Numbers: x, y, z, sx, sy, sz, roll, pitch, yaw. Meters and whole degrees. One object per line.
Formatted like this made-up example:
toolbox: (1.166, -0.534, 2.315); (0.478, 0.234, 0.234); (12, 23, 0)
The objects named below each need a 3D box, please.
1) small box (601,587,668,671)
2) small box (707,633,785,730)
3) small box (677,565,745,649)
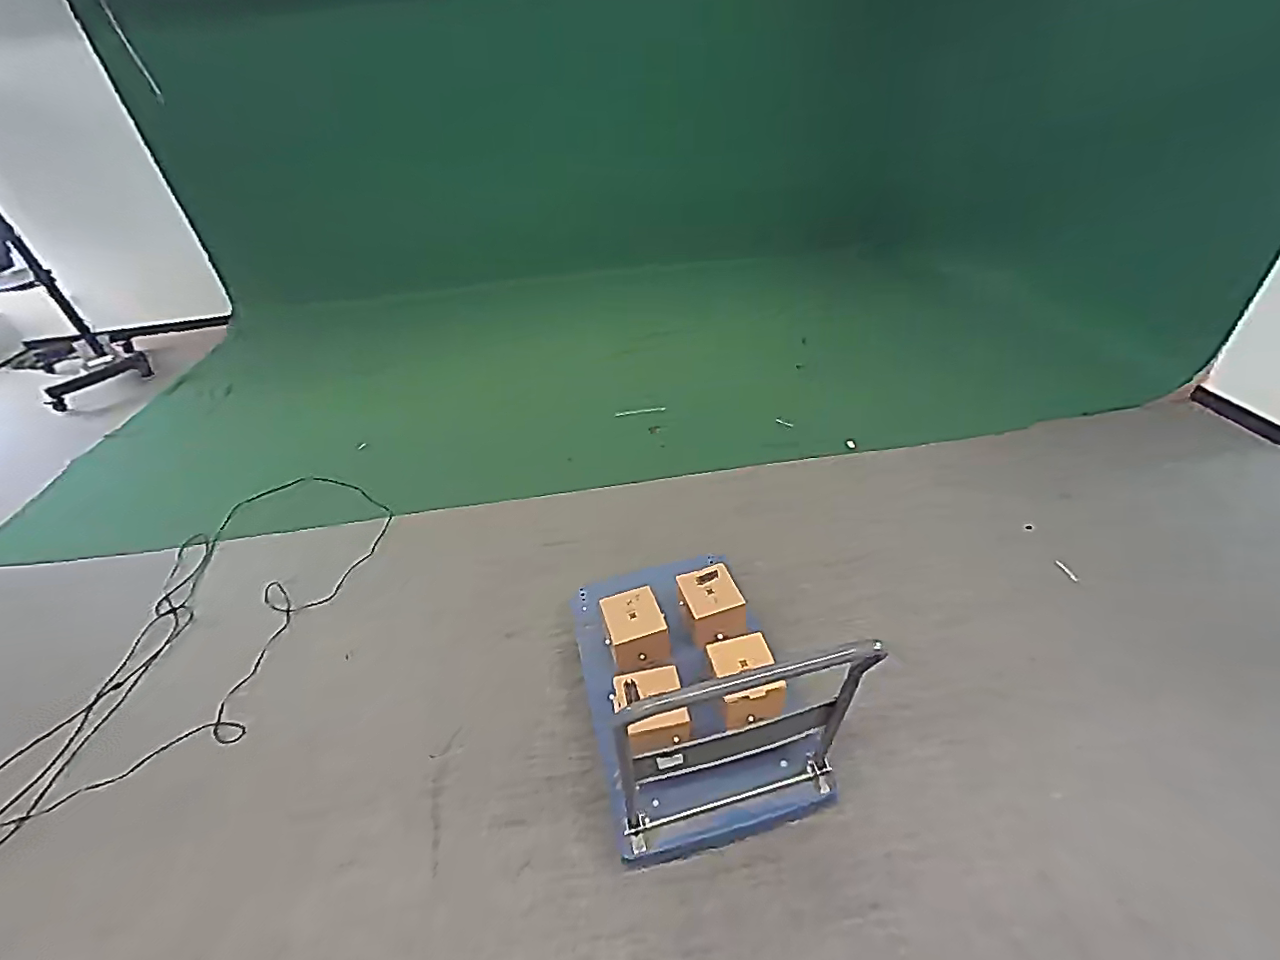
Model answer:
small box: (-0.014, 0.472, 1.685); (0.168, 0.176, 0.179); (-14, 39, -12)
small box: (0.292, 0.569, 1.529); (0.168, 0.176, 0.179); (-12, 40, -8)
small box: (0.224, 0.408, 1.735); (0.168, 0.176, 0.179); (-15, 41, -10)
